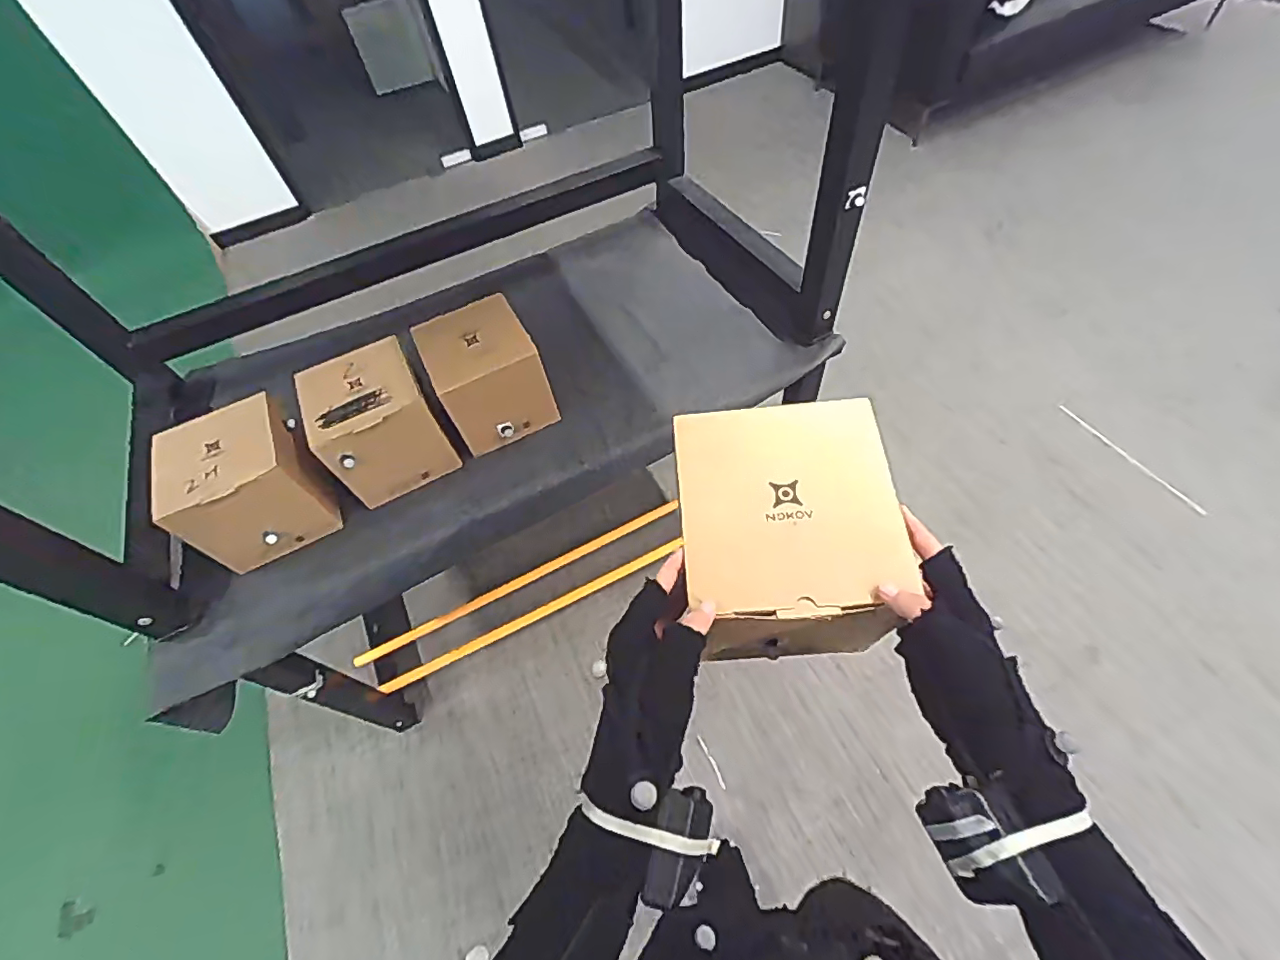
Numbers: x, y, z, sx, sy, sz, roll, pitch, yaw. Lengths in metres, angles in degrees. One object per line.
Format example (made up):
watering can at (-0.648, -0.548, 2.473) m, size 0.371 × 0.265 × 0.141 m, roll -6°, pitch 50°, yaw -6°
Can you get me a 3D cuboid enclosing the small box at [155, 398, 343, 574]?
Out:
small box at (-0.592, 0.012, 0.834) m, size 0.168 × 0.176 × 0.179 m, roll -26°, pitch 57°, yaw -12°
